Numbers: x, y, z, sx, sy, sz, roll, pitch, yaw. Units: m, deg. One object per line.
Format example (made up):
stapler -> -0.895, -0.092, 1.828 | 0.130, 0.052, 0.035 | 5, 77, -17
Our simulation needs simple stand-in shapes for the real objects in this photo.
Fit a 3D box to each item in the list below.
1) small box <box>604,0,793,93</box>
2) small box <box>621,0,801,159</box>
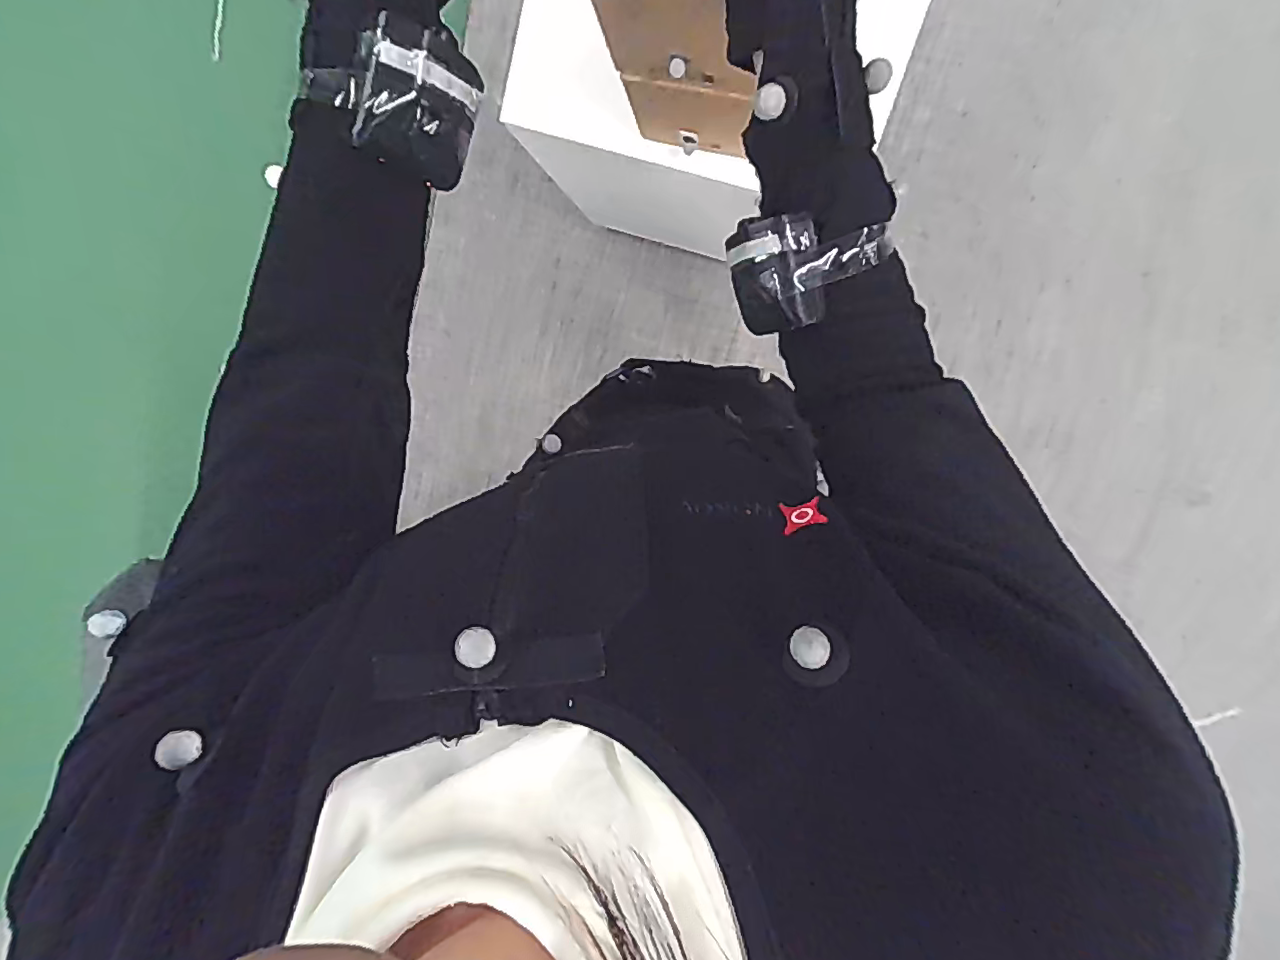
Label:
small box -> 0.059, -0.481, 0.465 | 0.168, 0.176, 0.179 | 12, 101, 8
small box -> 0.089, -0.507, 0.625 | 0.168, 0.176, 0.179 | 15, 104, 8
